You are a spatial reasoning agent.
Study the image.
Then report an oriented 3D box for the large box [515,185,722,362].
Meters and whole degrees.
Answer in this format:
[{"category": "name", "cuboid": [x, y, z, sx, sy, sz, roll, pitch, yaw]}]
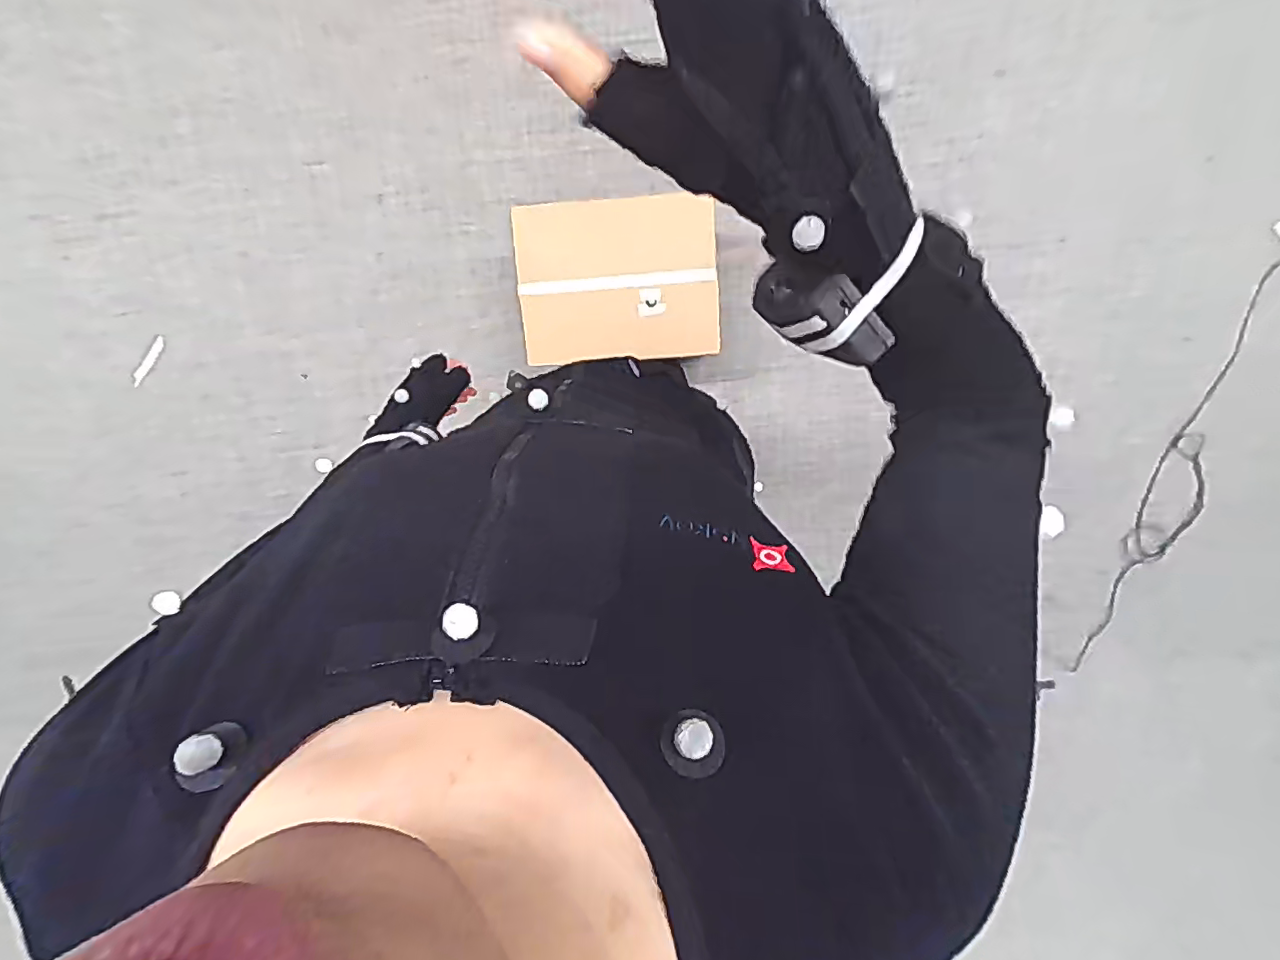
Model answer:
[{"category": "large box", "cuboid": [-0.038, -0.445, 1.242, 0.408, 0.320, 0.320, -4, 103, 2]}]
